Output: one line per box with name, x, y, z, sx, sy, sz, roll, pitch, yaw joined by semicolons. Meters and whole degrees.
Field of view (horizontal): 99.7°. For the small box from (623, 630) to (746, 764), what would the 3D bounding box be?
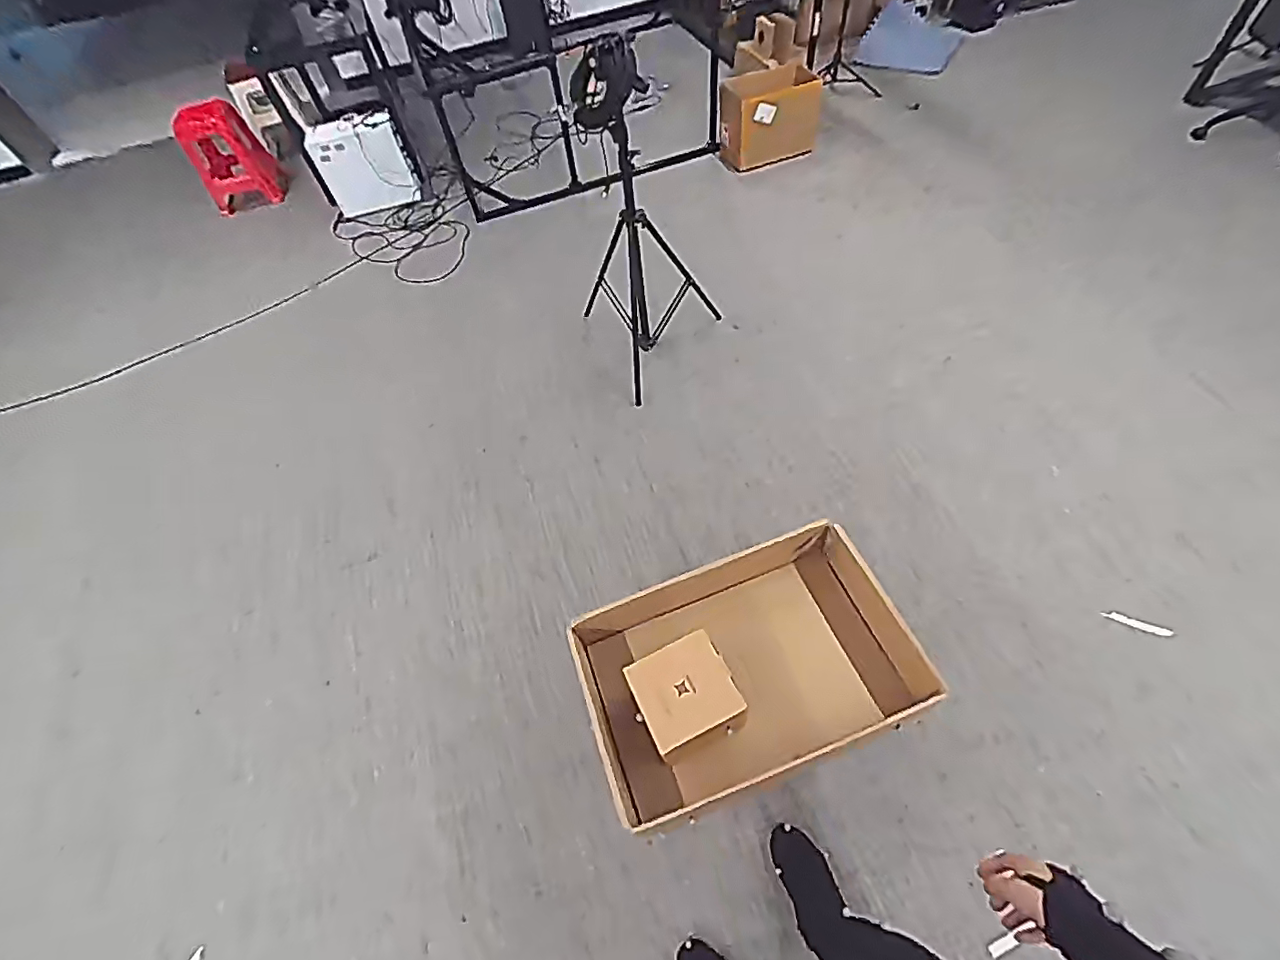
small box;0.086;0.422;1.046;0.179;0.176;0.168;-25;56;-8
